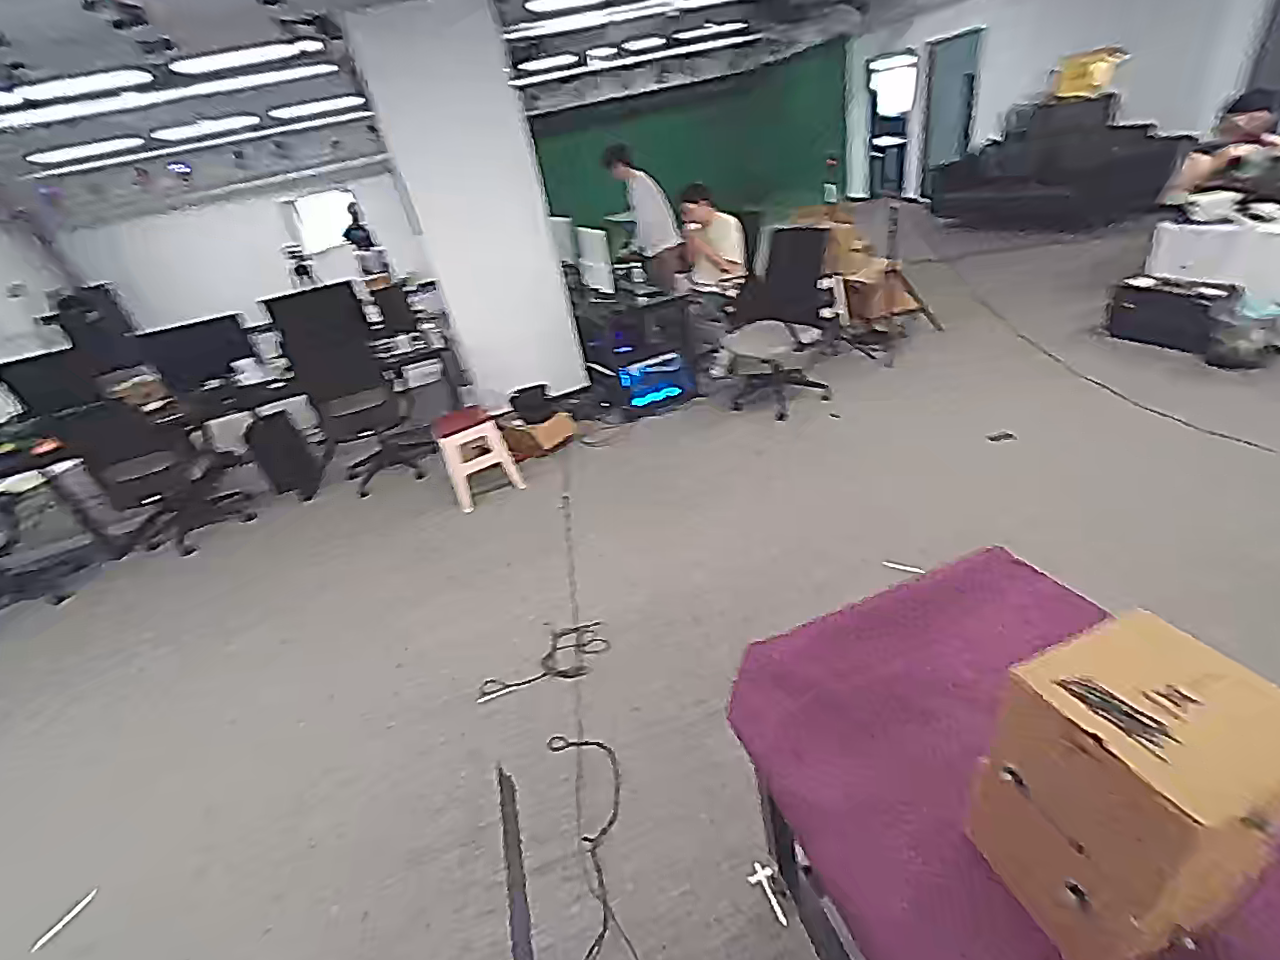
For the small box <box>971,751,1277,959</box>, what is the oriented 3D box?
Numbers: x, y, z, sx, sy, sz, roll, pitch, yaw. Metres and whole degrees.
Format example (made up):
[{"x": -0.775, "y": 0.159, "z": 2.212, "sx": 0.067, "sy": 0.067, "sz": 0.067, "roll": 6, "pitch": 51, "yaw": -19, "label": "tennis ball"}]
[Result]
[{"x": 0.510, "y": 0.404, "z": 0.603, "sx": 0.168, "sy": 0.176, "sz": 0.179, "roll": -18, "pitch": 31, "yaw": -9, "label": "small box"}]

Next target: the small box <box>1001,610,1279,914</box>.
[{"x": 0.486, "y": 0.264, "z": 0.520, "sx": 0.179, "sy": 0.176, "sz": 0.168, "roll": -19, "pitch": 32, "yaw": -11, "label": "small box"}]
